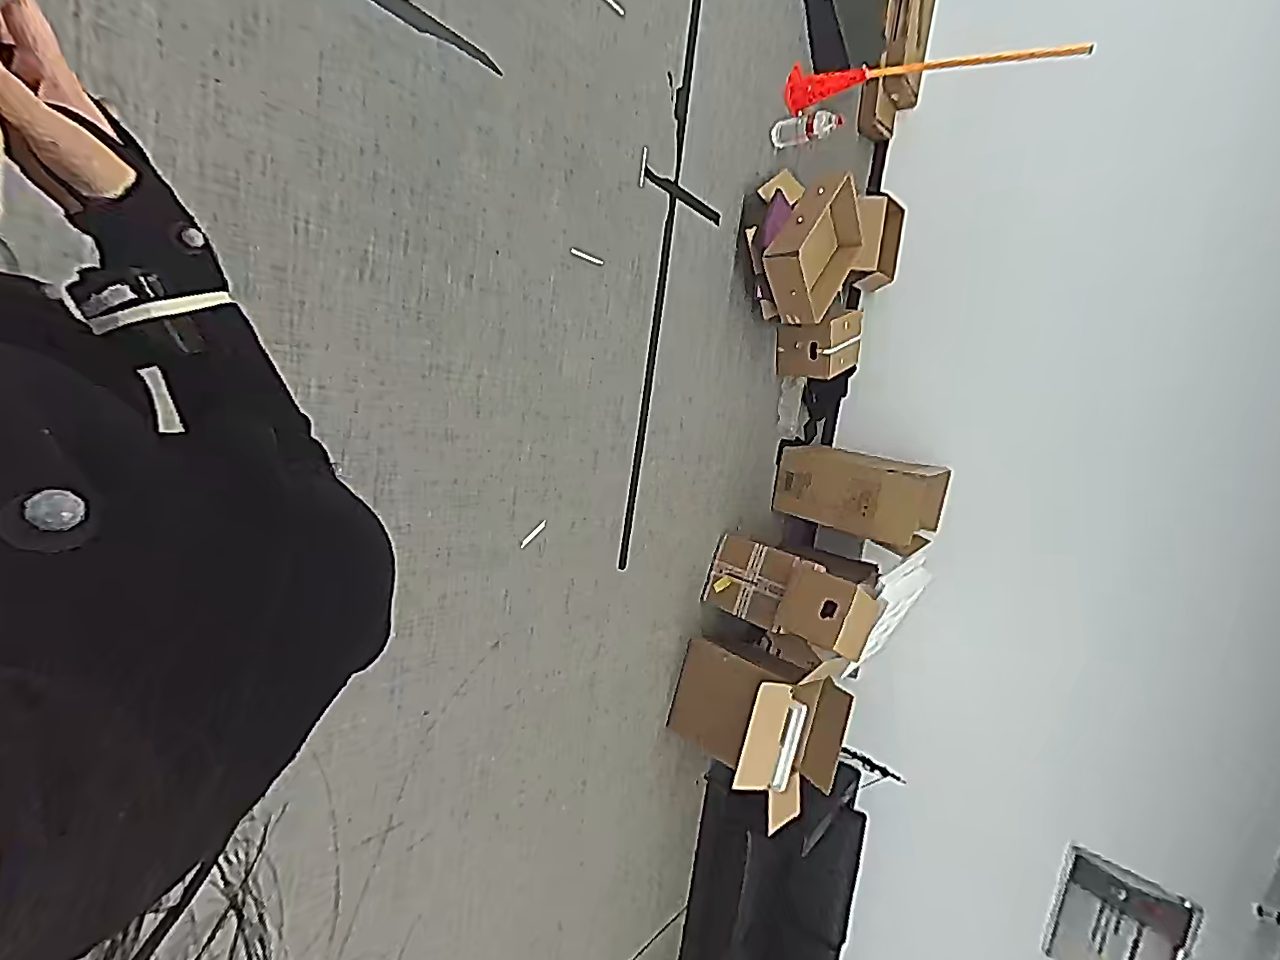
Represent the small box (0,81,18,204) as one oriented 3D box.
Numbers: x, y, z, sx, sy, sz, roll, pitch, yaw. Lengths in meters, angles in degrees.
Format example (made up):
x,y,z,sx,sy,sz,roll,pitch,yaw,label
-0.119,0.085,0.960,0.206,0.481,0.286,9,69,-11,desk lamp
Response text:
x,y,z,sx,sy,sz,roll,pitch,yaw,label
-0.404,-0.227,0.219,0.168,0.176,0.179,-18,111,-48,small box
